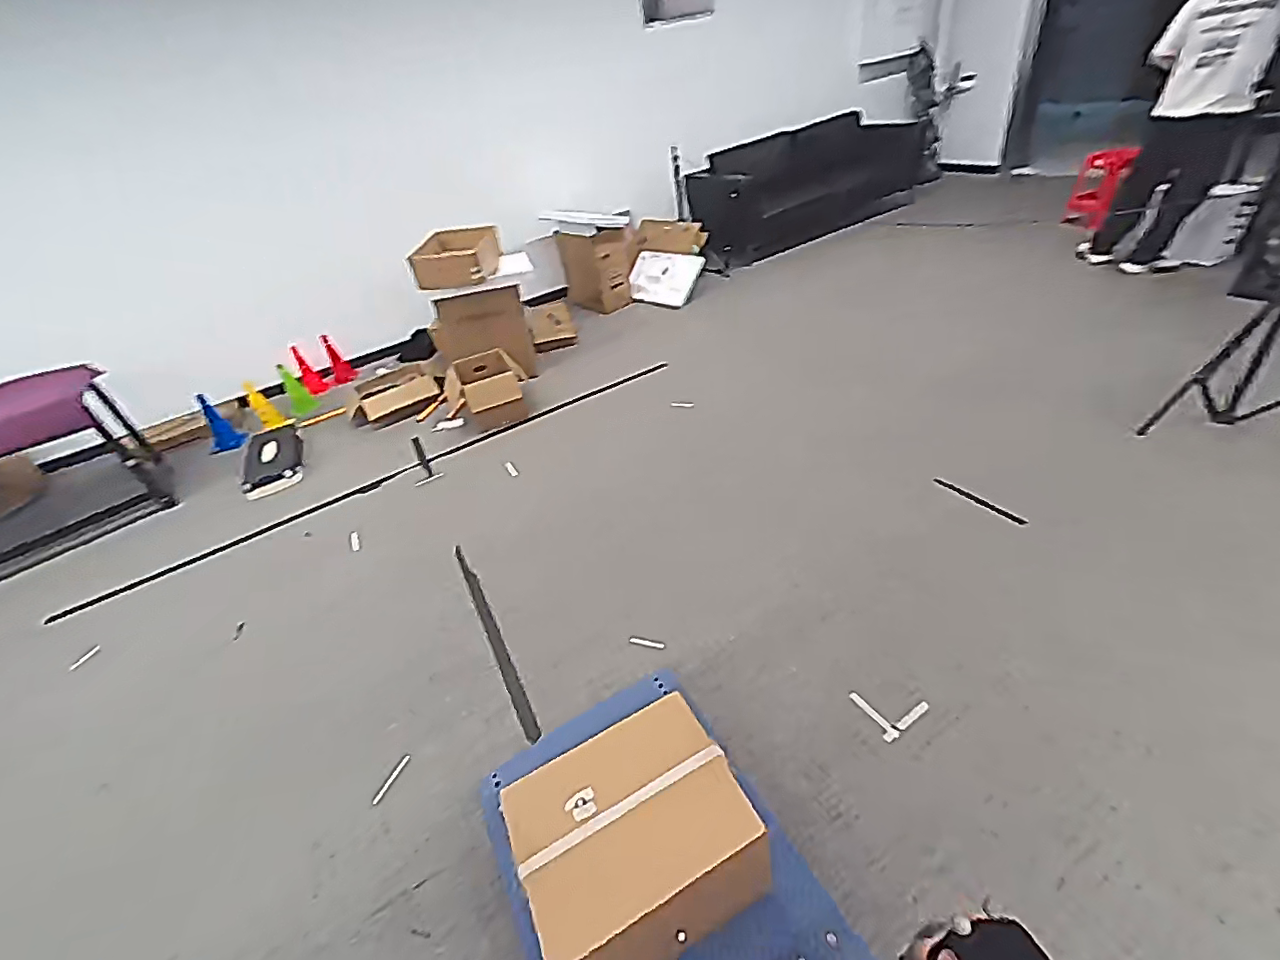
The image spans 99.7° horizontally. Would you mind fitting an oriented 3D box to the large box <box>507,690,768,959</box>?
[{"bbox_3d":[0.004,0.718,1.088,0.408,0.320,0.320,-24,38,-15],"label":"large box"}]
